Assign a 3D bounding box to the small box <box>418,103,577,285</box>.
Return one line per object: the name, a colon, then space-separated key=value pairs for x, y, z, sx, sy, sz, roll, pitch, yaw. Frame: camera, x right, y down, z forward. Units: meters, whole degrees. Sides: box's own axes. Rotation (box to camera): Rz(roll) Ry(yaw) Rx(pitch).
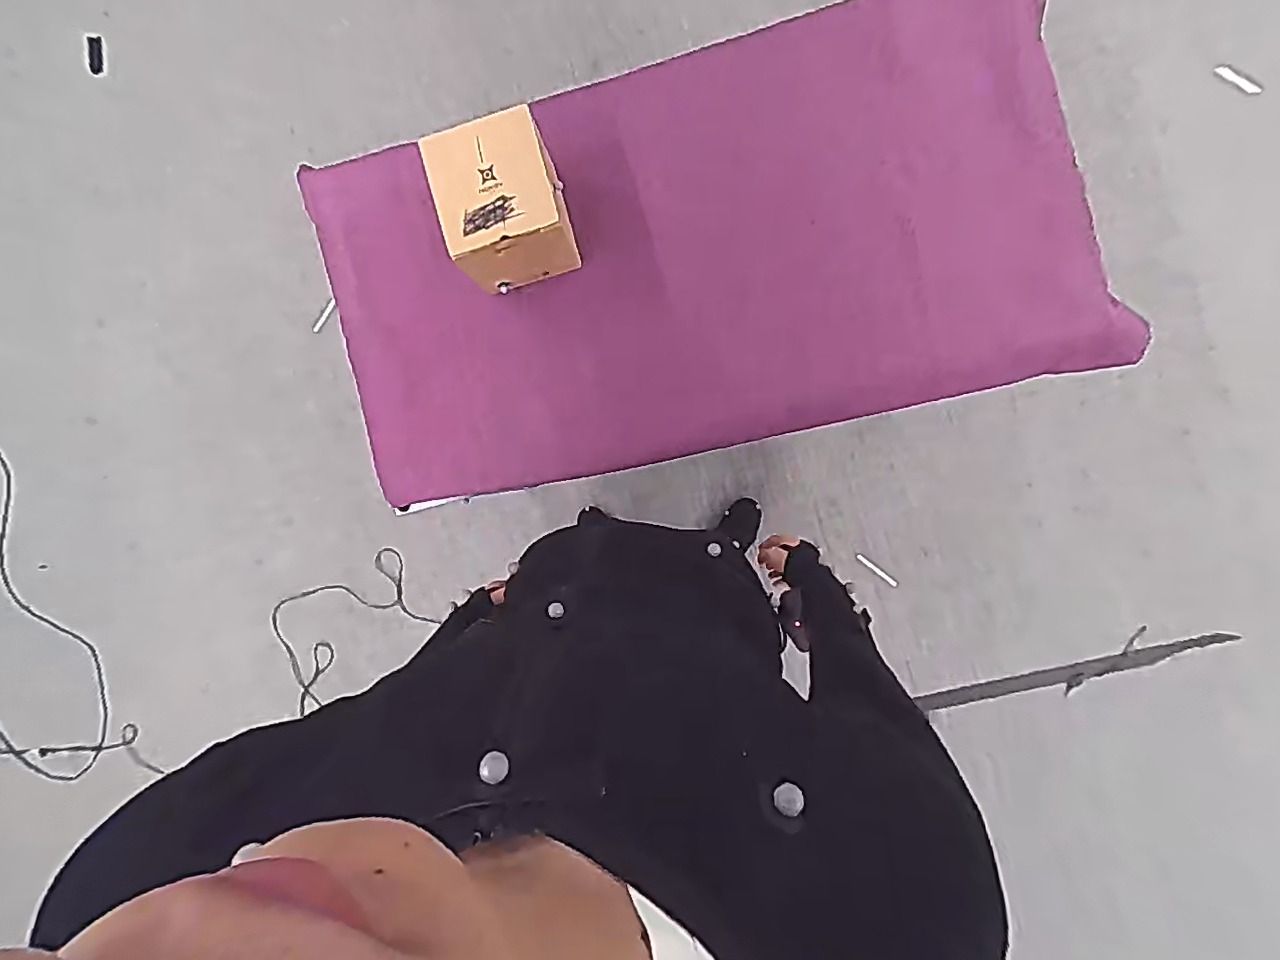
small box: x=-0.206 y=-0.420 z=0.832 sx=0.168 sy=0.176 sz=0.179 roll=-16 pitch=90 yaw=4
